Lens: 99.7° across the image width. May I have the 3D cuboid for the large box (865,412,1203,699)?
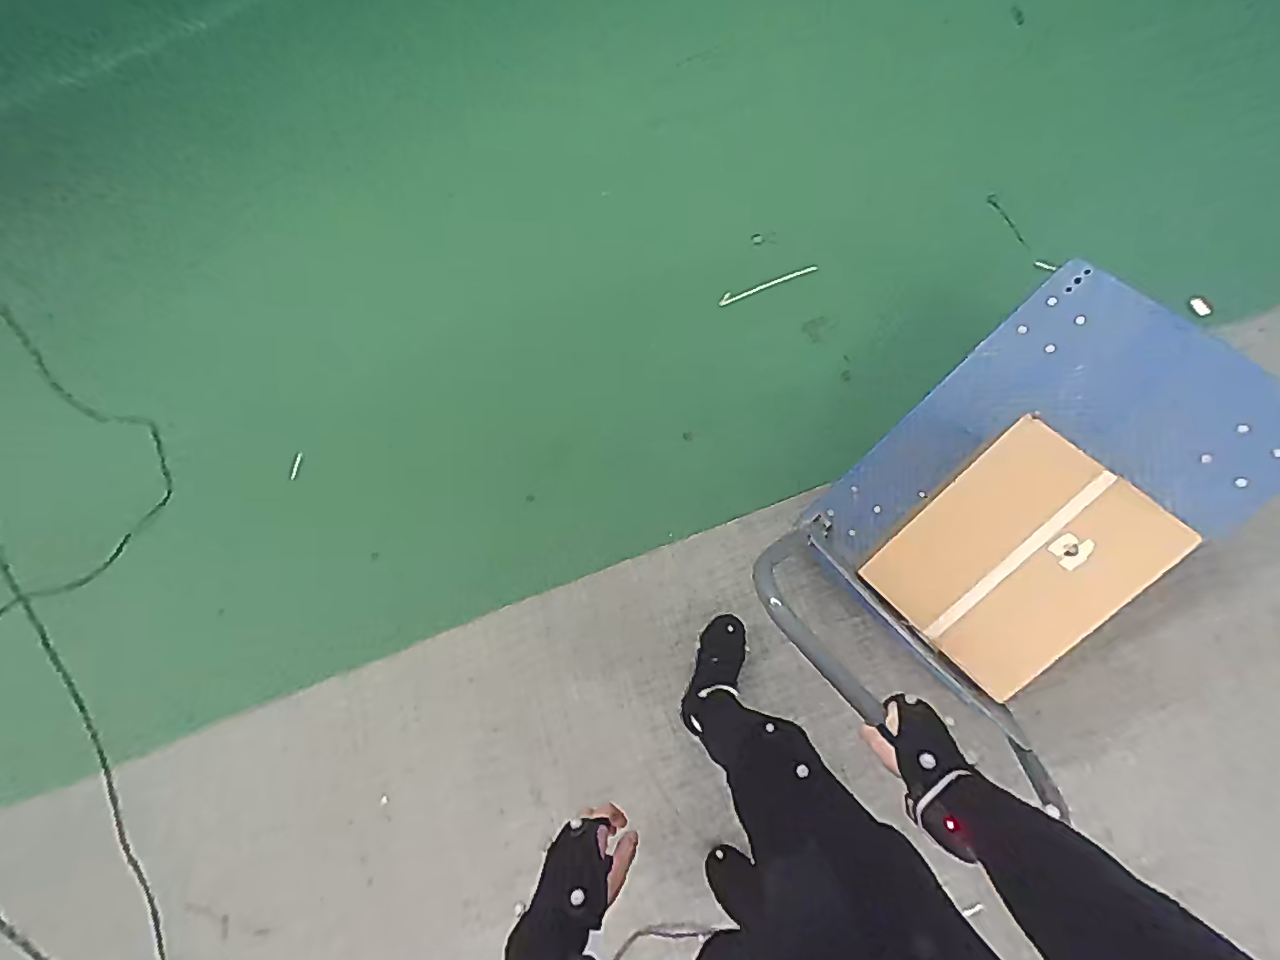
[{"bbox_3d":[0.702,0.142,1.060,0.408,0.320,0.320,-48,71,11],"label":"large box"}]
